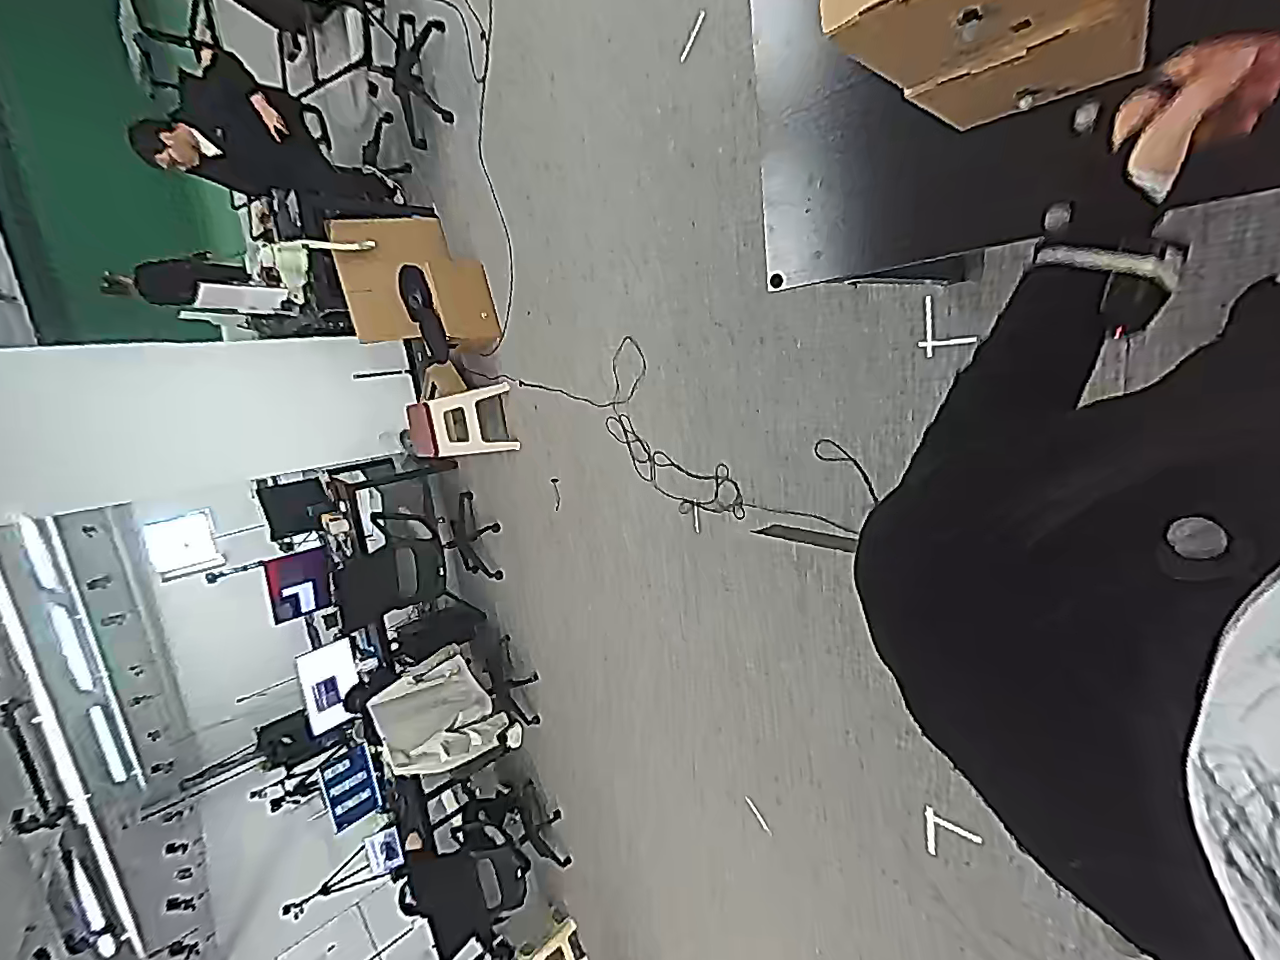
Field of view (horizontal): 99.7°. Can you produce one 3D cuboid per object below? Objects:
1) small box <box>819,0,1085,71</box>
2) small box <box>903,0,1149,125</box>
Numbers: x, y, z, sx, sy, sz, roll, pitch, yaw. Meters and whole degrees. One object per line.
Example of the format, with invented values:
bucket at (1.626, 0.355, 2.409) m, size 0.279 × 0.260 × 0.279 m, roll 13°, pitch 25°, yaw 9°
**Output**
small box at (0.250, -0.452, 0.414) m, size 0.168 × 0.176 × 0.179 m, roll 5°, pitch 107°, yaw 48°
small box at (0.373, -0.480, 0.519) m, size 0.168 × 0.176 × 0.179 m, roll 9°, pitch 110°, yaw 47°
